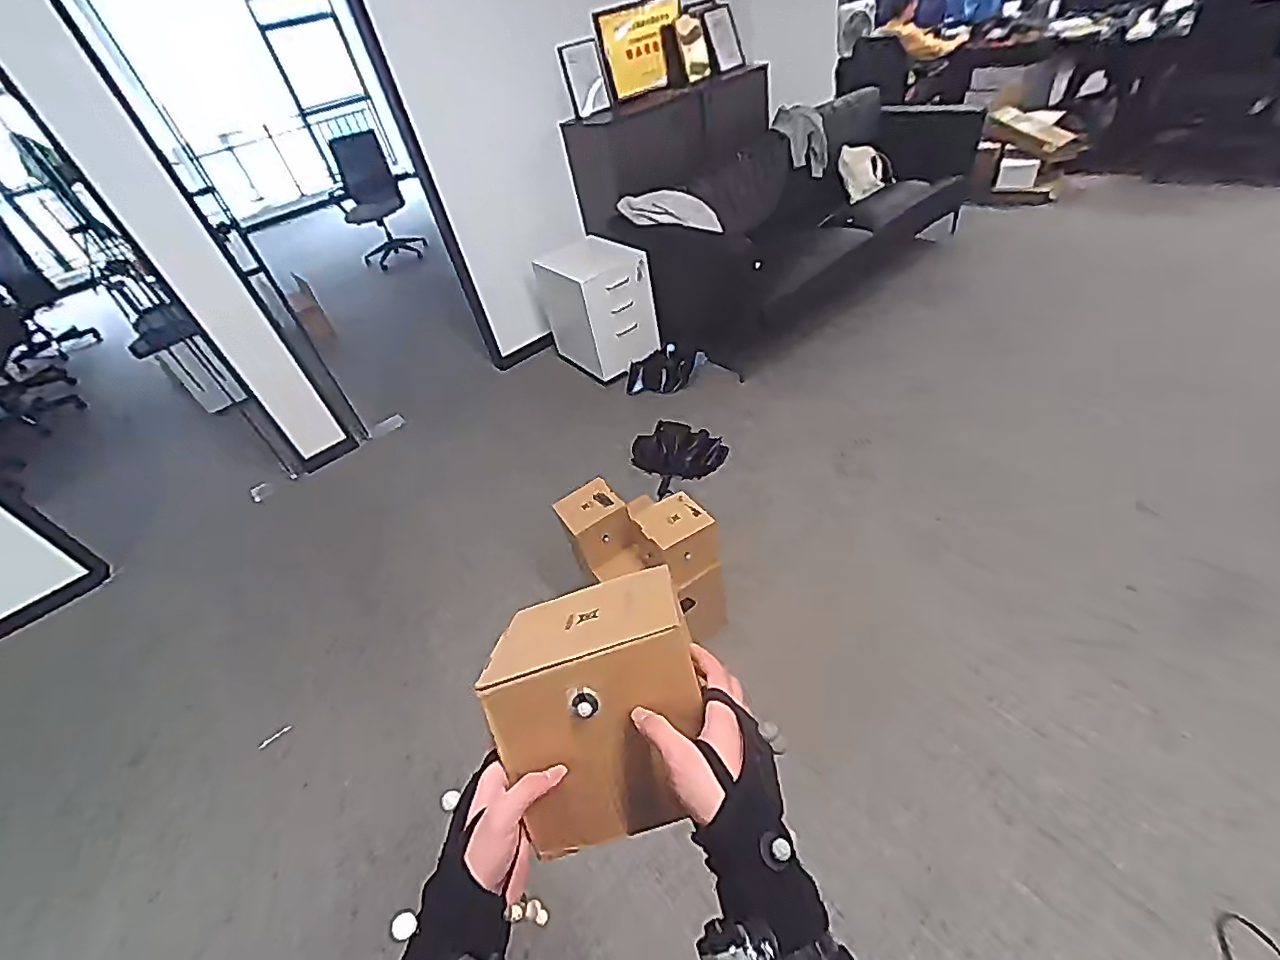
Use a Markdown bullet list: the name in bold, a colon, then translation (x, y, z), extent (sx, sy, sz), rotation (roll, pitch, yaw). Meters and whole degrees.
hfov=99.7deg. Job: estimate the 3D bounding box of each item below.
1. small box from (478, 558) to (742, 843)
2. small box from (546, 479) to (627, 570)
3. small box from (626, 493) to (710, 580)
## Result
- **small box**: translation (-0.023, 0.195, 0.507), extent (0.179, 0.176, 0.168), rotation (-17, 8, 0)
- **small box**: translation (-0.155, 0.136, 1.643), extent (0.179, 0.176, 0.168), rotation (-31, 44, -15)
- **small box**: translation (0.084, 0.174, 1.541), extent (0.179, 0.176, 0.168), rotation (-27, 43, -19)
